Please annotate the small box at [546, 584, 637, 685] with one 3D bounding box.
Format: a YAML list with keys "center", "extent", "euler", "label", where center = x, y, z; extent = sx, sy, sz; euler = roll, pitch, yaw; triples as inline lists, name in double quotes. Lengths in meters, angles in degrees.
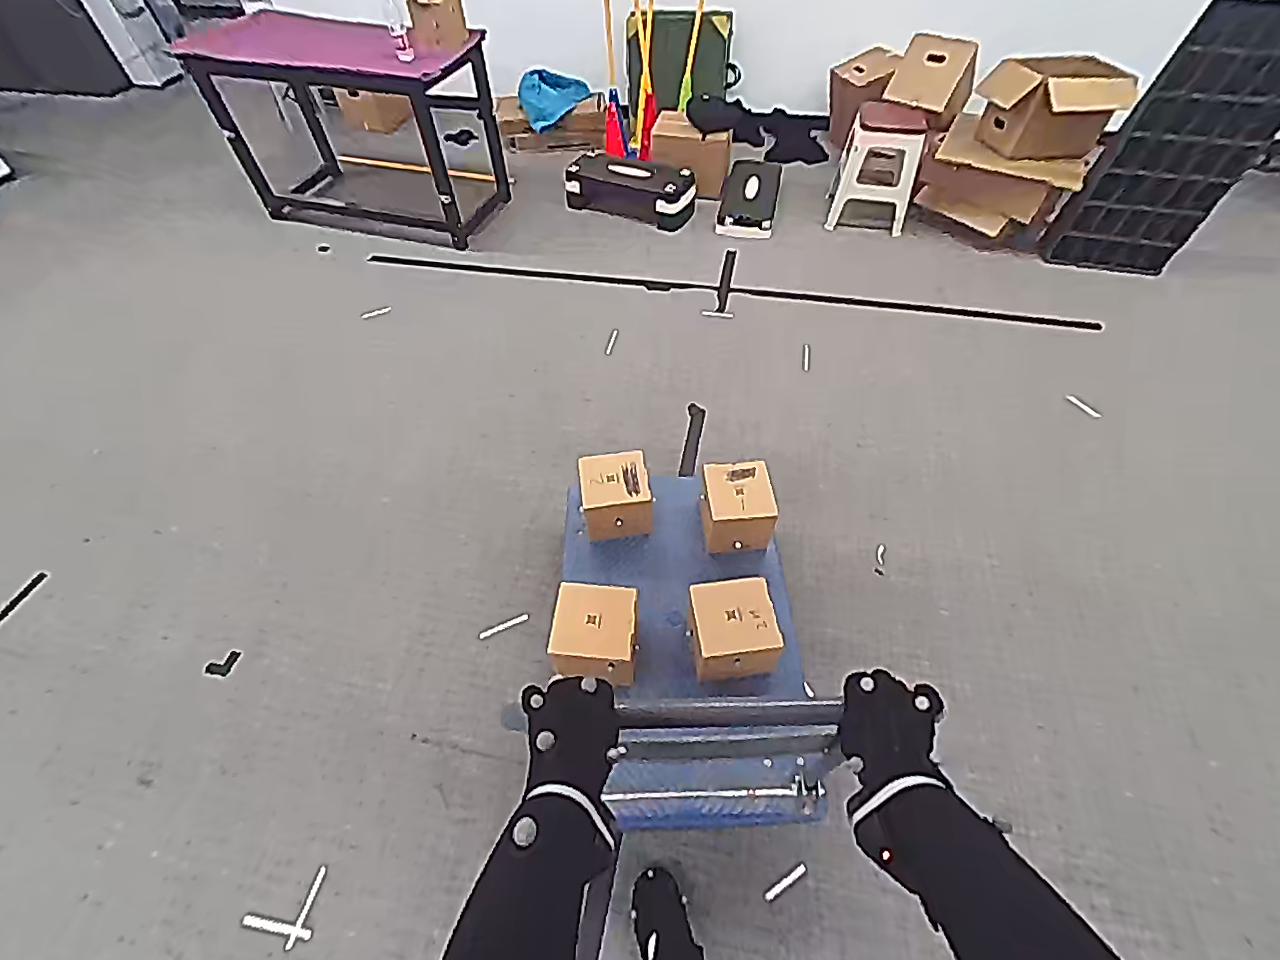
- center: [-0.102, 0.352, 1.224]
  extent: [0.179, 0.176, 0.168]
  euler: [4, 53, 3]
  label: "small box"

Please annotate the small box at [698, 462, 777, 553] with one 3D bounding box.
- center: [0.248, 0.073, 1.426]
  extent: [0.168, 0.176, 0.179]
  euler: [-4, 54, -2]
  label: "small box"

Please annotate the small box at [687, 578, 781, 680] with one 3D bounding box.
- center: [0.202, 0.341, 1.224]
  extent: [0.179, 0.176, 0.168]
  euler: [-6, 53, -3]
  label: "small box"
